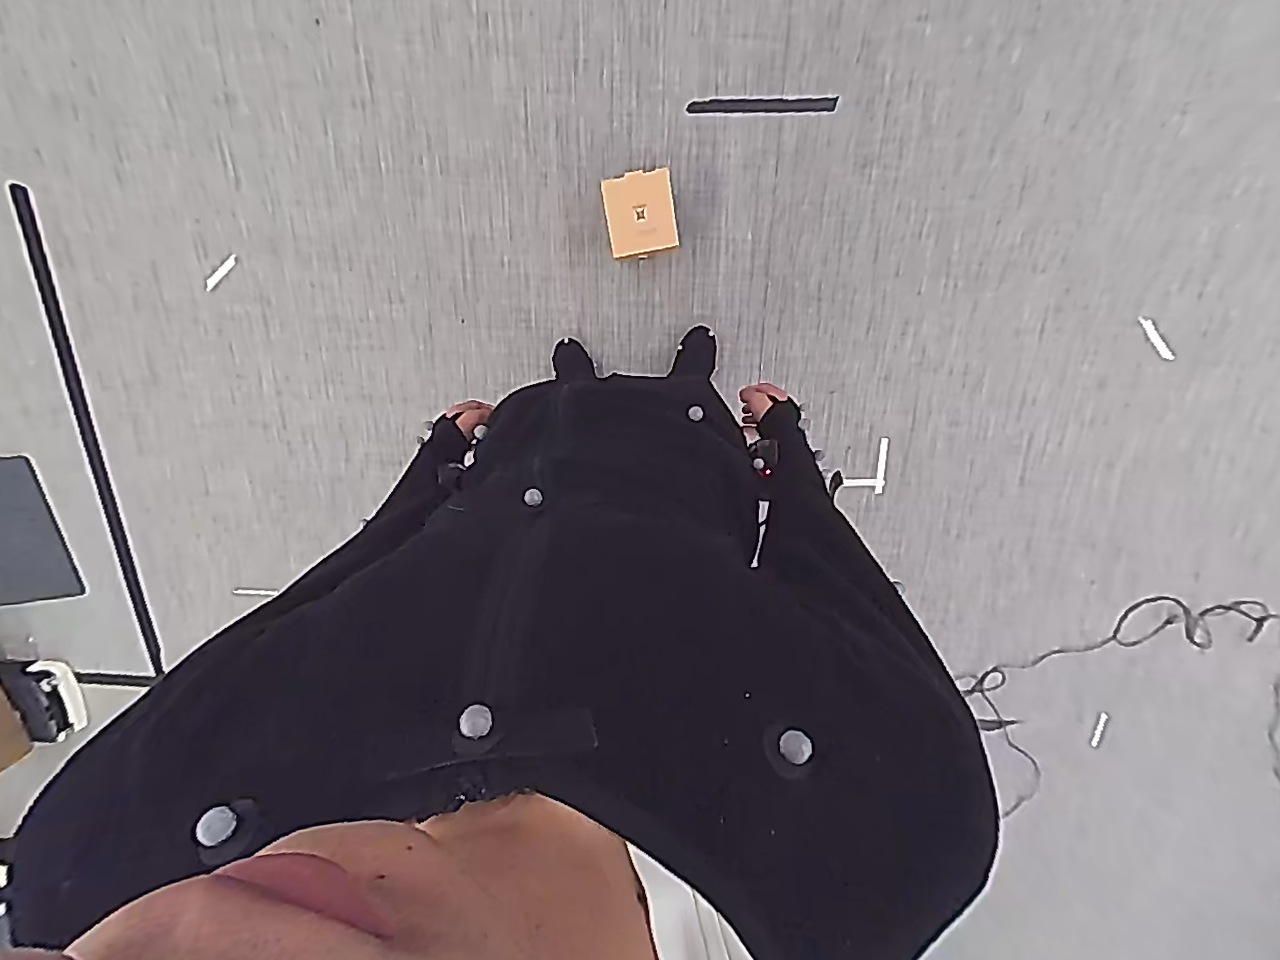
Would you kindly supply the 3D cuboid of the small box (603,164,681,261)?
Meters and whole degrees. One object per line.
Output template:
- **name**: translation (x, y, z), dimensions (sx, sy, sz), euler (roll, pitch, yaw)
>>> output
- **small box**: translation (0.008, -0.662, 1.357), dimensions (0.168, 0.176, 0.179), euler (-8, 107, 6)
